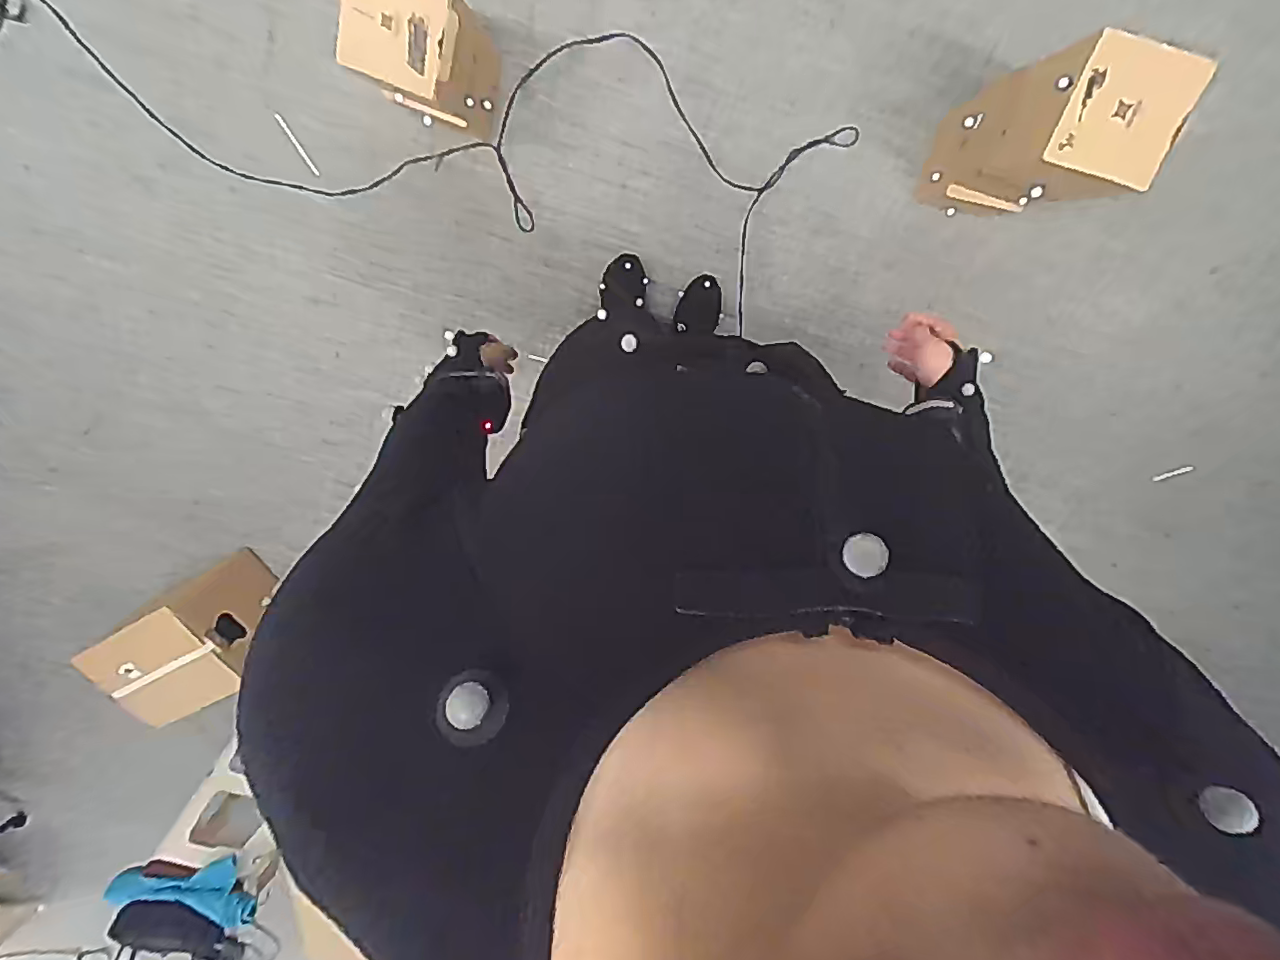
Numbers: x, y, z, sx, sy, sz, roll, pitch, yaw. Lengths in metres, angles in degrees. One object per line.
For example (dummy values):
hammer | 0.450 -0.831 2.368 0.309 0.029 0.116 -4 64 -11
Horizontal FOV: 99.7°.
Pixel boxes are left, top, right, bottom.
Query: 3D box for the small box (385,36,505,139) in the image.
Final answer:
small box | -0.396 -0.835 1.123 0.179 0.176 0.168 19 112 -5

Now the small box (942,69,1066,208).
small box | 0.712 -0.618 1.004 0.179 0.176 0.168 16 112 -3

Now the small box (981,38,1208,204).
small box | 0.698 -0.549 0.856 0.179 0.176 0.168 15 112 -5

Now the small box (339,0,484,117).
small box | -0.399 -0.781 0.968 0.179 0.176 0.168 20 112 -4
